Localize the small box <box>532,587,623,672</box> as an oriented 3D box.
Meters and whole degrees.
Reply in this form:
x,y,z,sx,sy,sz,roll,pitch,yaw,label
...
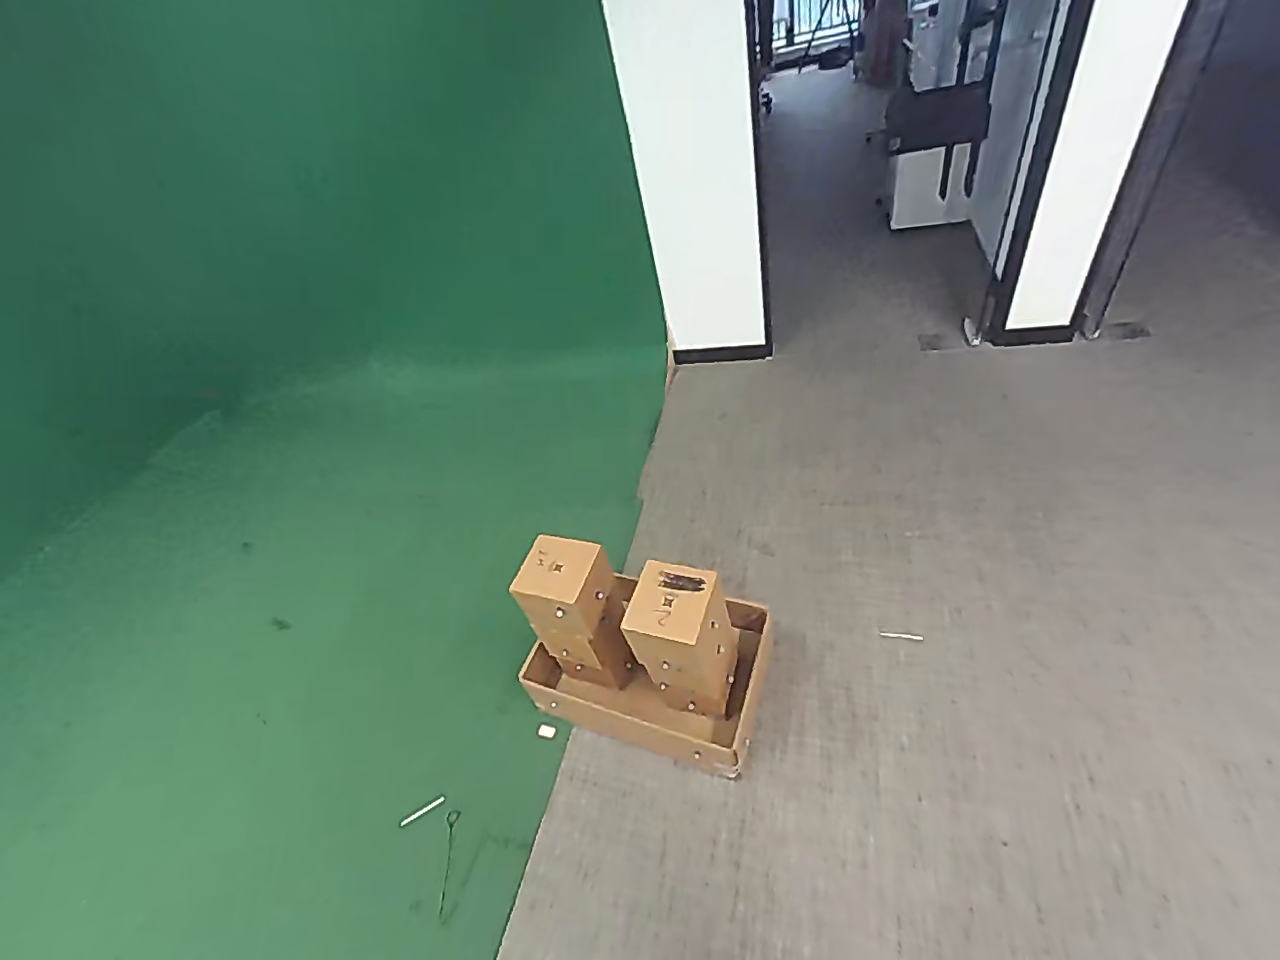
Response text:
x,y,z,sx,sy,sz,roll,pitch,yaw,label
-0.156,0.380,1.440,0.168,0.176,0.179,8,50,23,small box

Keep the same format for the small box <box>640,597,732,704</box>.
x,y,z,sx,sy,sz,roll,pitch,yaw,label
0.120,0.415,1.313,0.168,0.176,0.179,6,47,23,small box

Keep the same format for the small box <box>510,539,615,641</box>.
x,y,z,sx,sy,sz,roll,pitch,yaw,label
-0.179,0.271,1.317,0.179,0.176,0.168,7,49,22,small box
